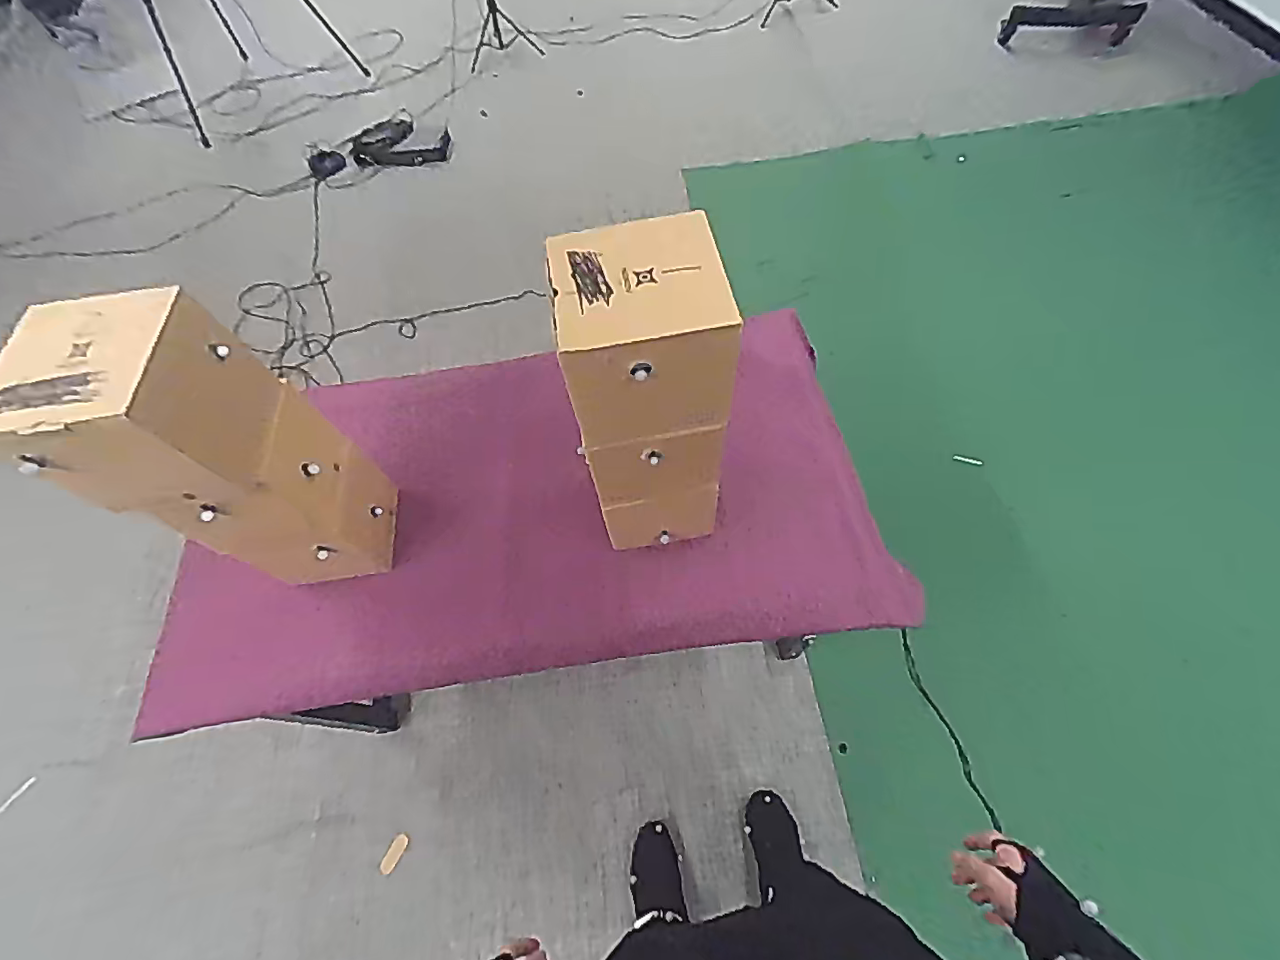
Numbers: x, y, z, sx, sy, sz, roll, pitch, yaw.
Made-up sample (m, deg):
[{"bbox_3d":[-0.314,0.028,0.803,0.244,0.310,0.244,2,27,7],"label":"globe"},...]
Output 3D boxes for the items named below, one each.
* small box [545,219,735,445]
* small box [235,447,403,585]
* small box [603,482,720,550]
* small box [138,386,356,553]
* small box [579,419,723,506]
[{"bbox_3d":[0.001,-0.157,0.613,0.179,0.176,0.168,-10,62,0],"label":"small box"},{"bbox_3d":[-0.524,0.067,0.915,0.179,0.176,0.168,-9,61,0],"label":"small box"},{"bbox_3d":[0.026,0.002,0.898,0.179,0.176,0.168,-10,61,0],"label":"small box"},{"bbox_3d":[-0.537,-0.008,0.772,0.179,0.176,0.168,-9,62,1],"label":"small box"},{"bbox_3d":[0.013,-0.077,0.755,0.179,0.176,0.168,-9,62,1],"label":"small box"}]
